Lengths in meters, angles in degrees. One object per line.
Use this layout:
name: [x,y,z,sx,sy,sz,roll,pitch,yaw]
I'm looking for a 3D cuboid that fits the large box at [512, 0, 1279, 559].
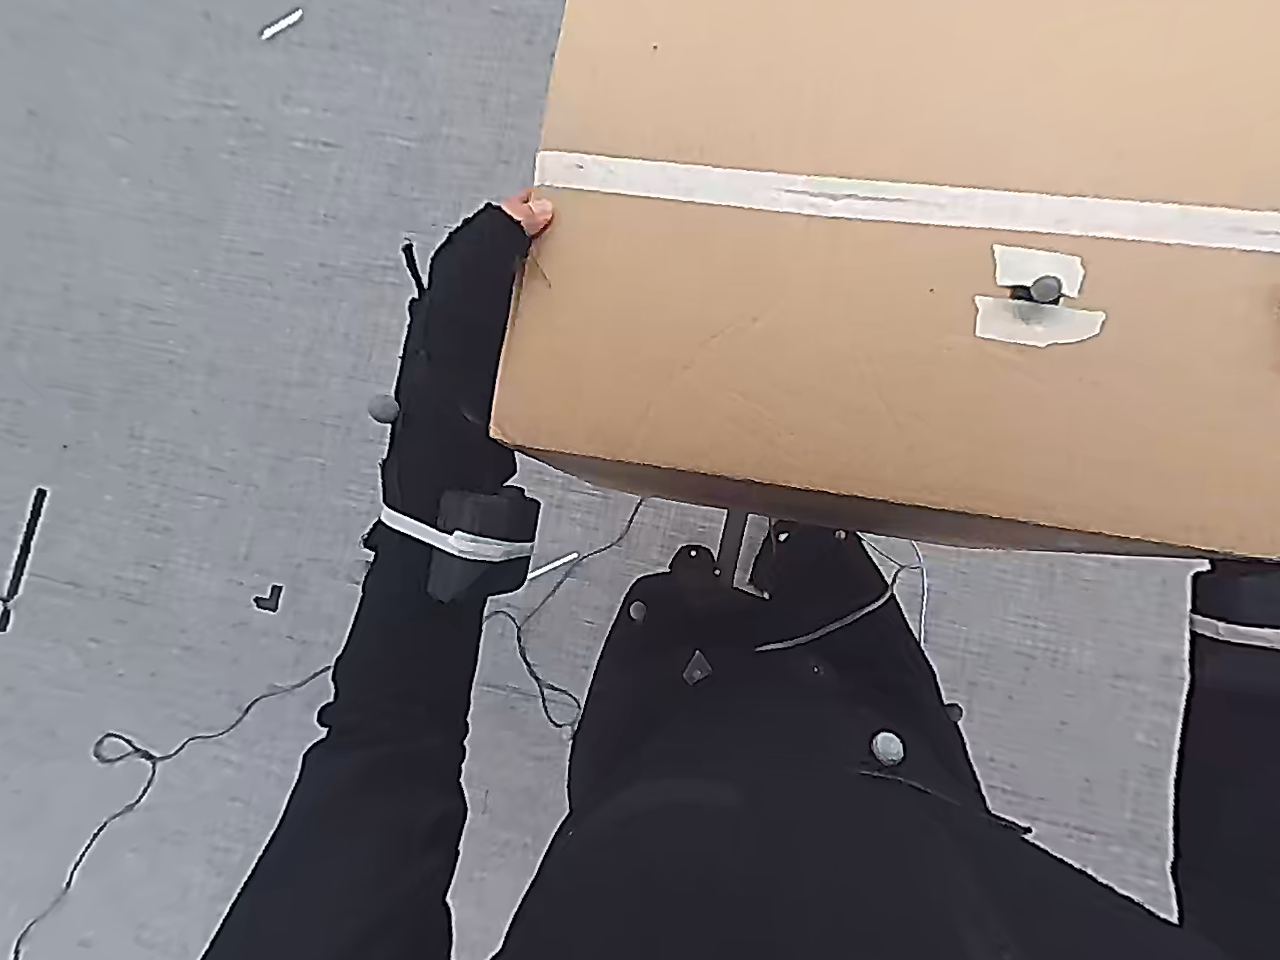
large box: [0.152,-0.121,0.448,0.408,0.320,0.320,8,86,6]
